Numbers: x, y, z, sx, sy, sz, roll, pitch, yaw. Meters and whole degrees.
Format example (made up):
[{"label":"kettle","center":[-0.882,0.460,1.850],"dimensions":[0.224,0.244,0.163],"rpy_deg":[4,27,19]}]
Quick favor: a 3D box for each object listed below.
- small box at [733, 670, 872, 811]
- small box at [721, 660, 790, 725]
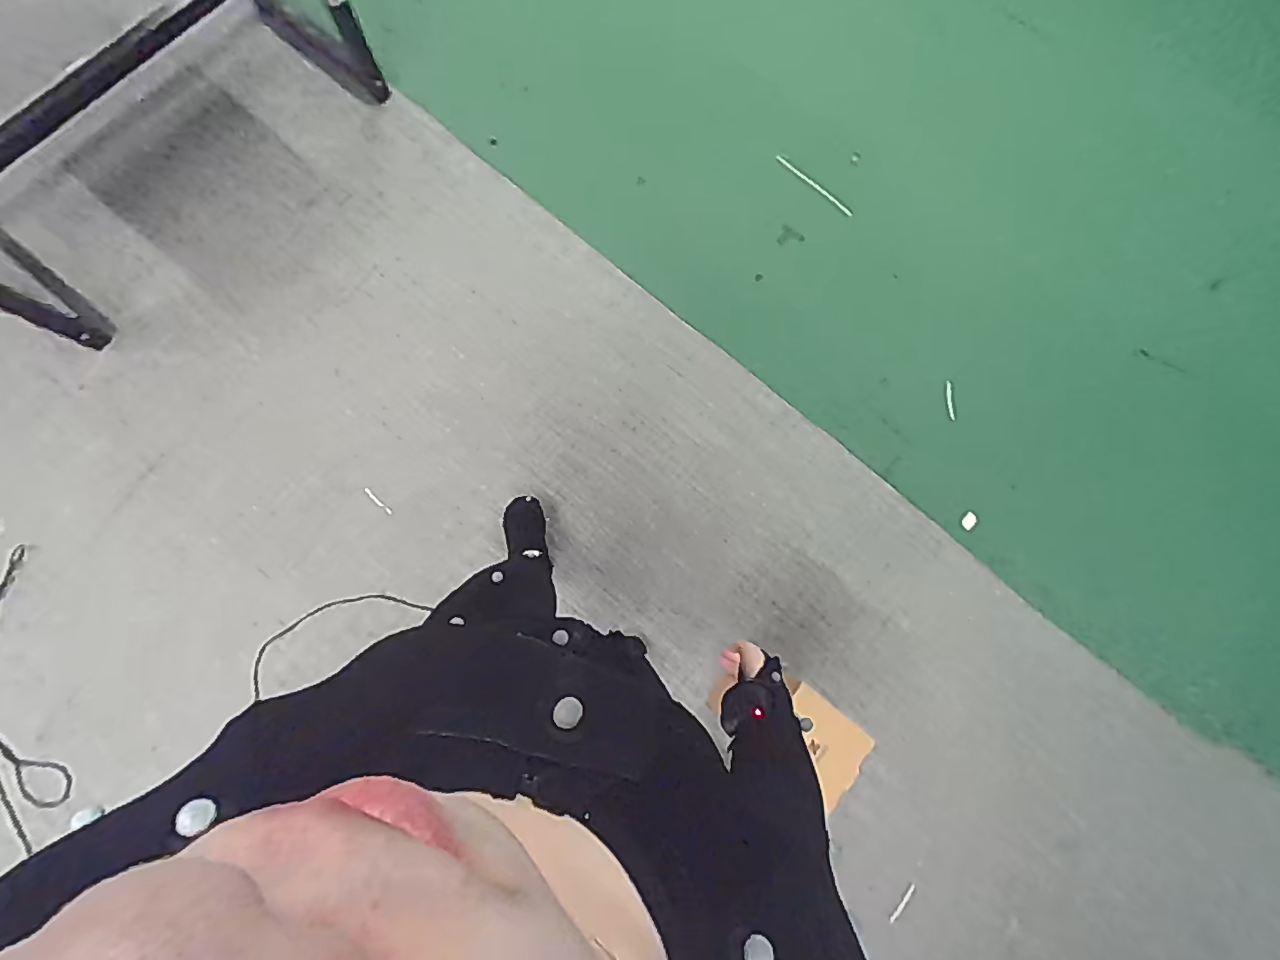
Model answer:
[{"label":"small box","center":[0.316,0.505,1.083],"dimensions":[0.179,0.176,0.168],"rpy_deg":[38,78,4]},{"label":"small box","center":[0.310,0.534,1.243],"dimensions":[0.179,0.176,0.168],"rpy_deg":[38,80,4]}]
